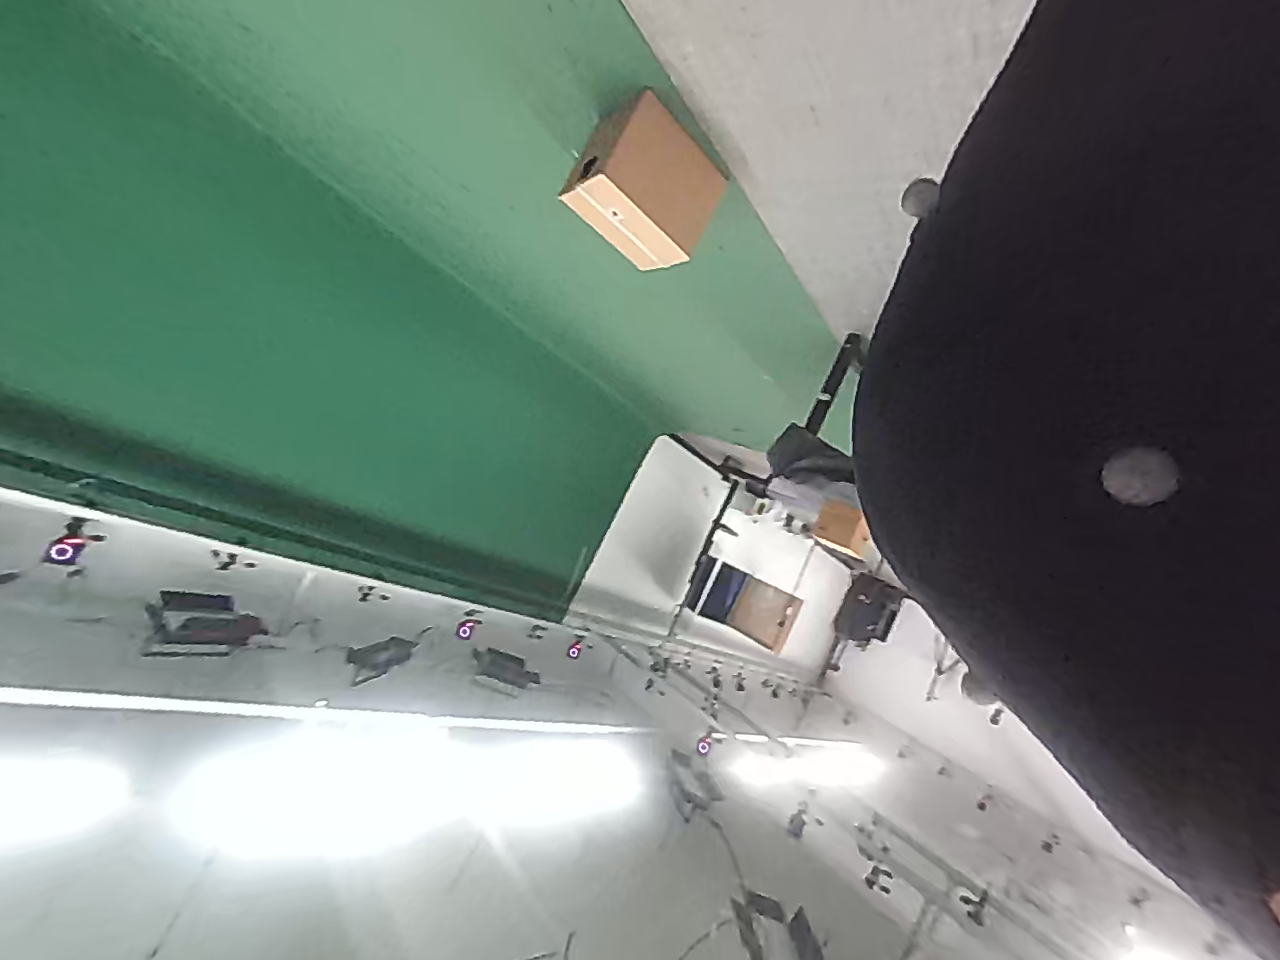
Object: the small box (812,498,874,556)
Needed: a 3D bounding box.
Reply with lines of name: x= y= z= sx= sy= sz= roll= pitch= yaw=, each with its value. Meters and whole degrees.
small box: x=0.850 y=0.192 z=2.243 sx=0.179 sy=0.176 sz=0.168 roll=23 pitch=175 yaw=42
